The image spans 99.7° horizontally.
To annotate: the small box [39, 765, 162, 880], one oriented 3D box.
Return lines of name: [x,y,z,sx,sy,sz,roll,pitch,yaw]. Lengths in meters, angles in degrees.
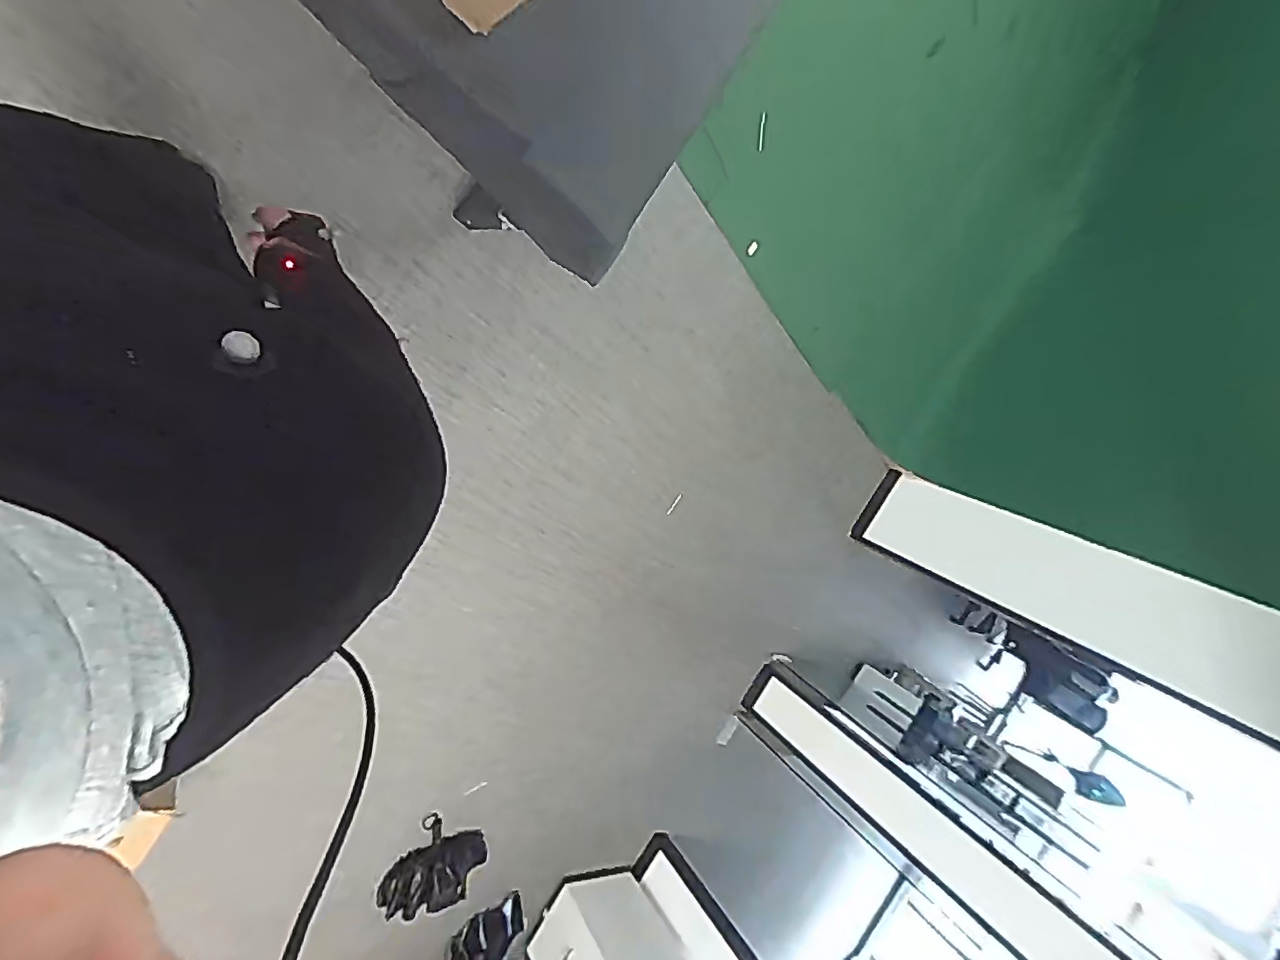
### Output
small box: [-1.352,0.860,1.369,0.168,0.176,0.179,33,88,-45]
